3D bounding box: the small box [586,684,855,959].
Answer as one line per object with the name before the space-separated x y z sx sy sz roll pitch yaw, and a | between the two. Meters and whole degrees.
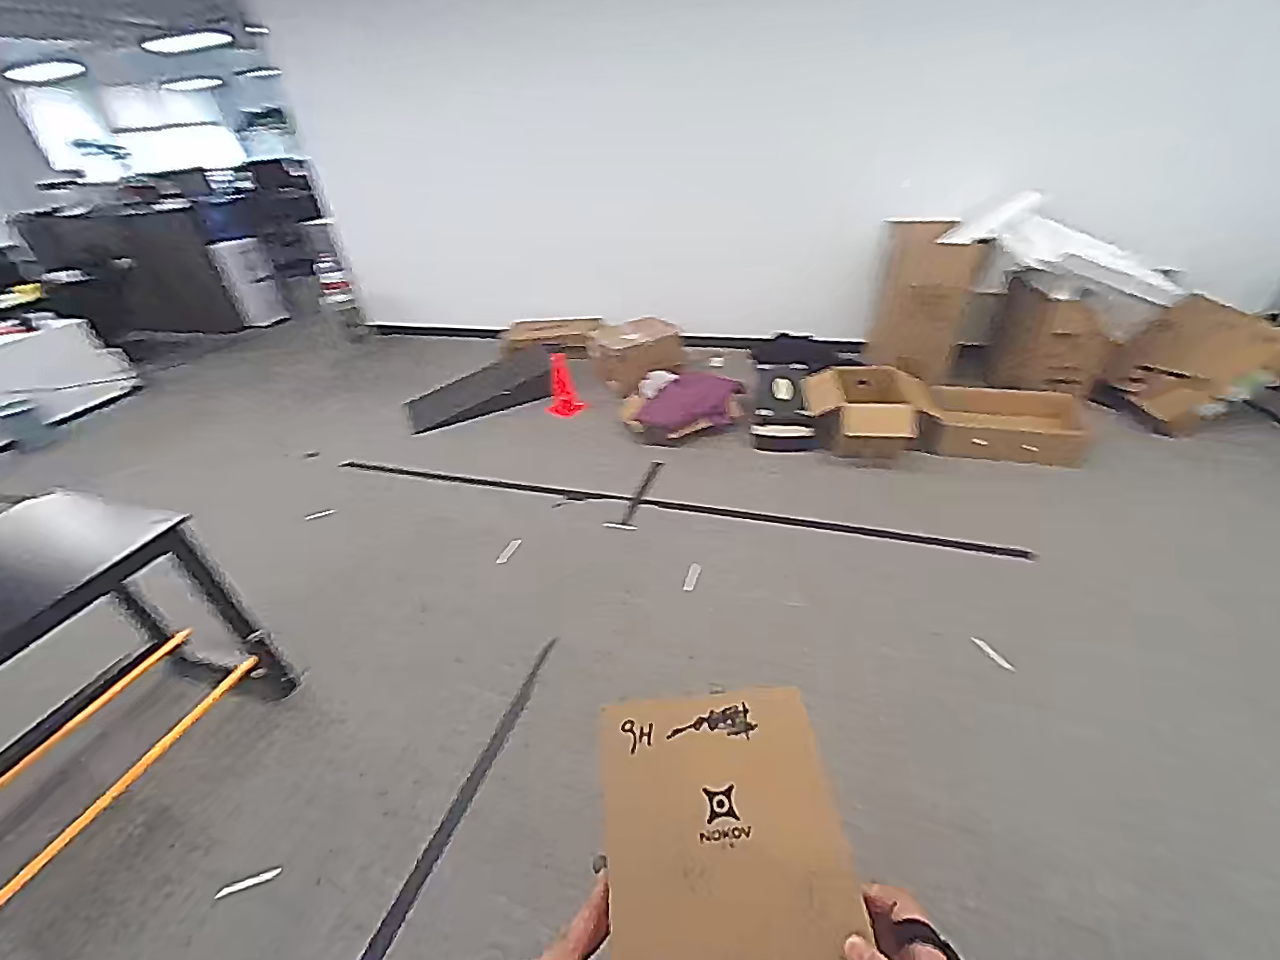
small box | 0.048 0.294 0.446 0.168 0.176 0.179 -6 47 -5
